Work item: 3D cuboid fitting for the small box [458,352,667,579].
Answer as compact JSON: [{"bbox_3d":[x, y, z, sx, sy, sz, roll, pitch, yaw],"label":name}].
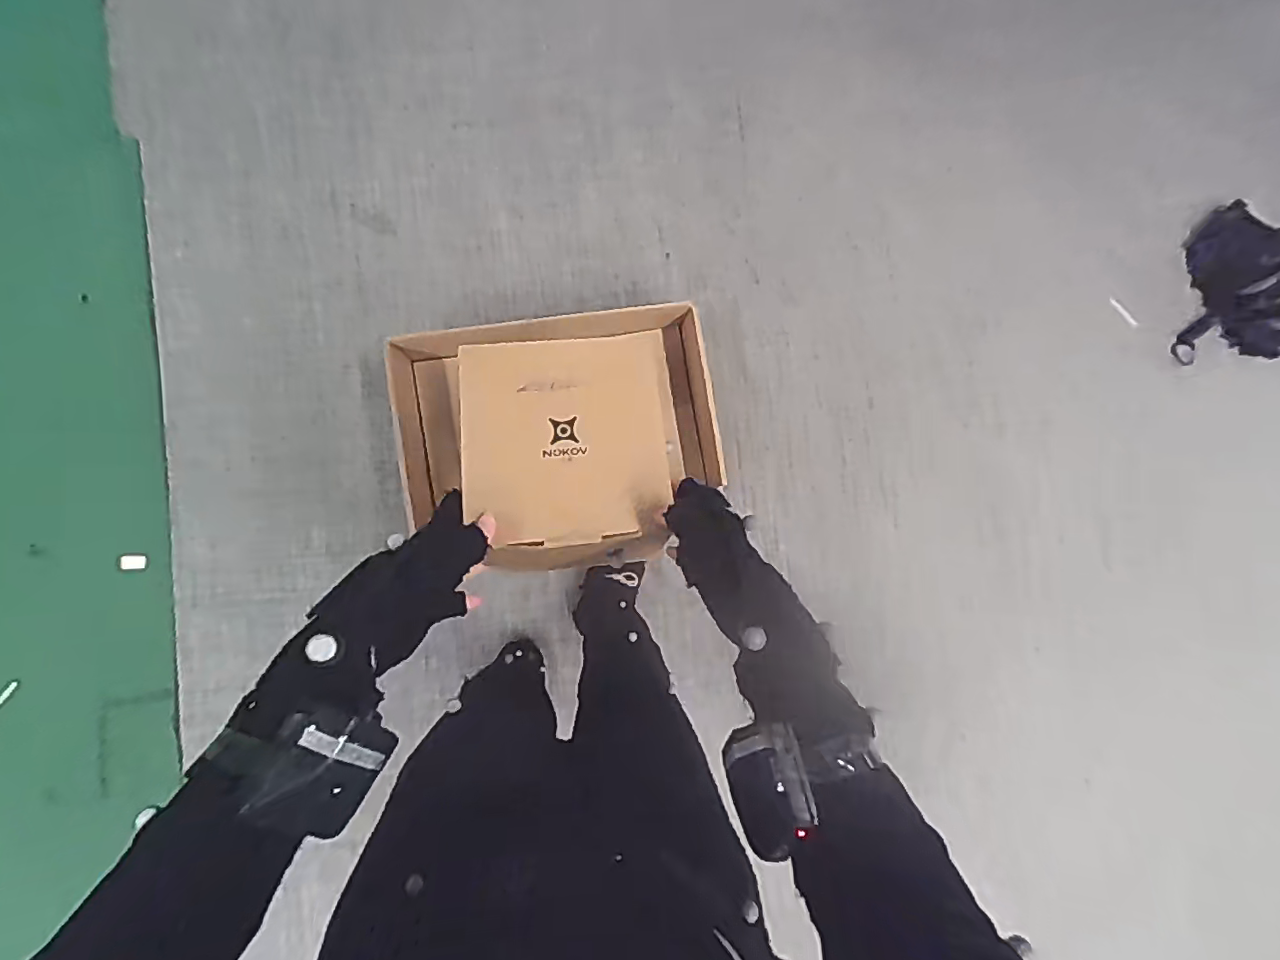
[{"bbox_3d":[-0.074,-0.003,0.523,0.168,0.176,0.179,-5,72,-8],"label":"small box"}]
